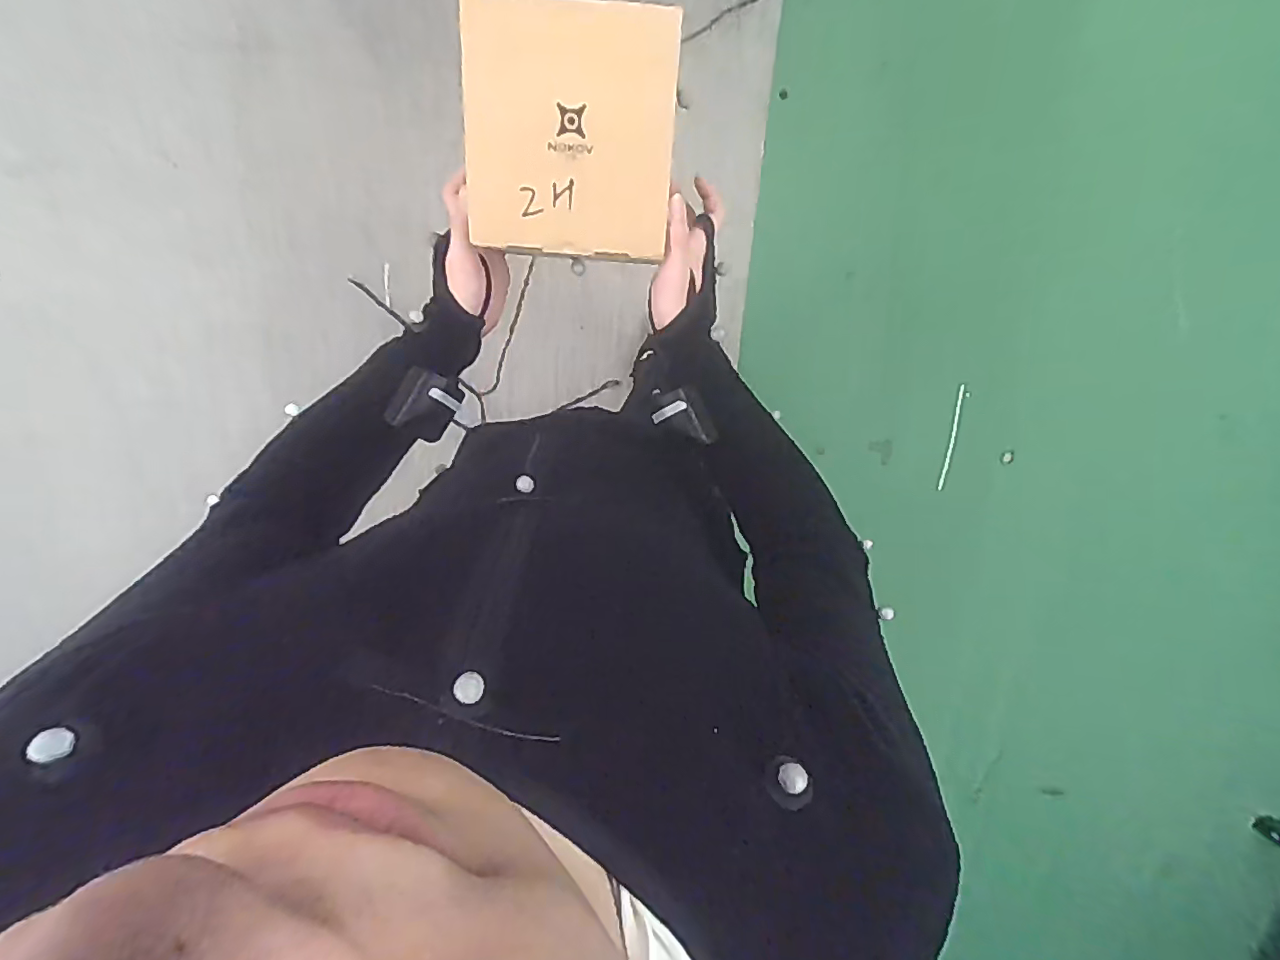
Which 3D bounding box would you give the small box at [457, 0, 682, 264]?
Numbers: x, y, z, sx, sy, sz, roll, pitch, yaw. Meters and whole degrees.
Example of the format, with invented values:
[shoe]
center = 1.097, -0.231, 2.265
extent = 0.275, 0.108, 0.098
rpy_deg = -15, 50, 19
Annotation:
[small box]
center = -0.058, -0.299, 0.489
extent = 0.168, 0.176, 0.179
rpy_deg = 4, 110, -2
